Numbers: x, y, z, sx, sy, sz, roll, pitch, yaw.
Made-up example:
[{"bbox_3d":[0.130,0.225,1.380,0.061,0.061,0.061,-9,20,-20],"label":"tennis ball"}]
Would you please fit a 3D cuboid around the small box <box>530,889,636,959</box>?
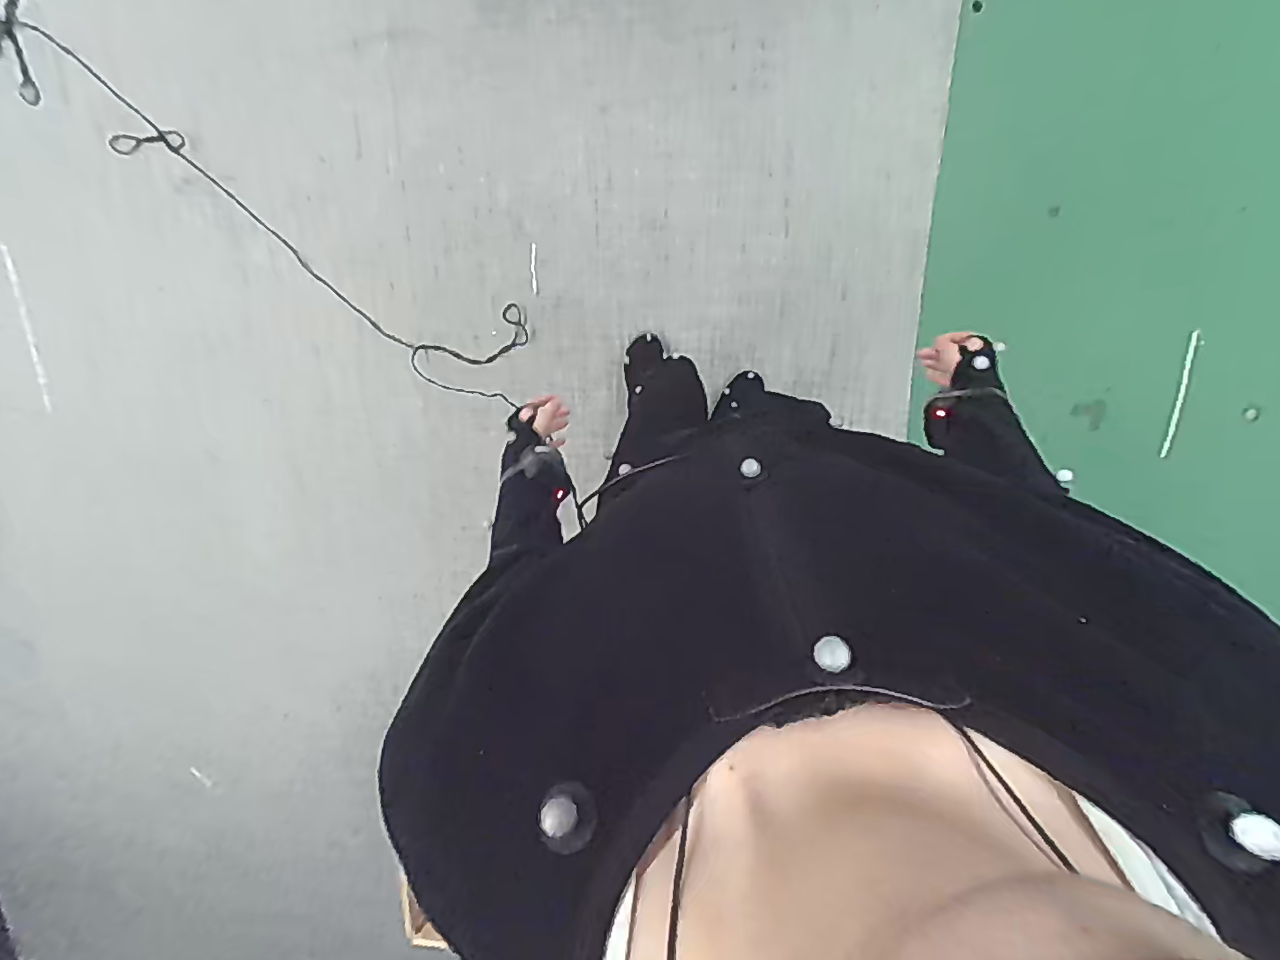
[{"bbox_3d":[-0.109,0.967,1.074,0.168,0.176,0.179,-14,101,6],"label":"small box"}]
